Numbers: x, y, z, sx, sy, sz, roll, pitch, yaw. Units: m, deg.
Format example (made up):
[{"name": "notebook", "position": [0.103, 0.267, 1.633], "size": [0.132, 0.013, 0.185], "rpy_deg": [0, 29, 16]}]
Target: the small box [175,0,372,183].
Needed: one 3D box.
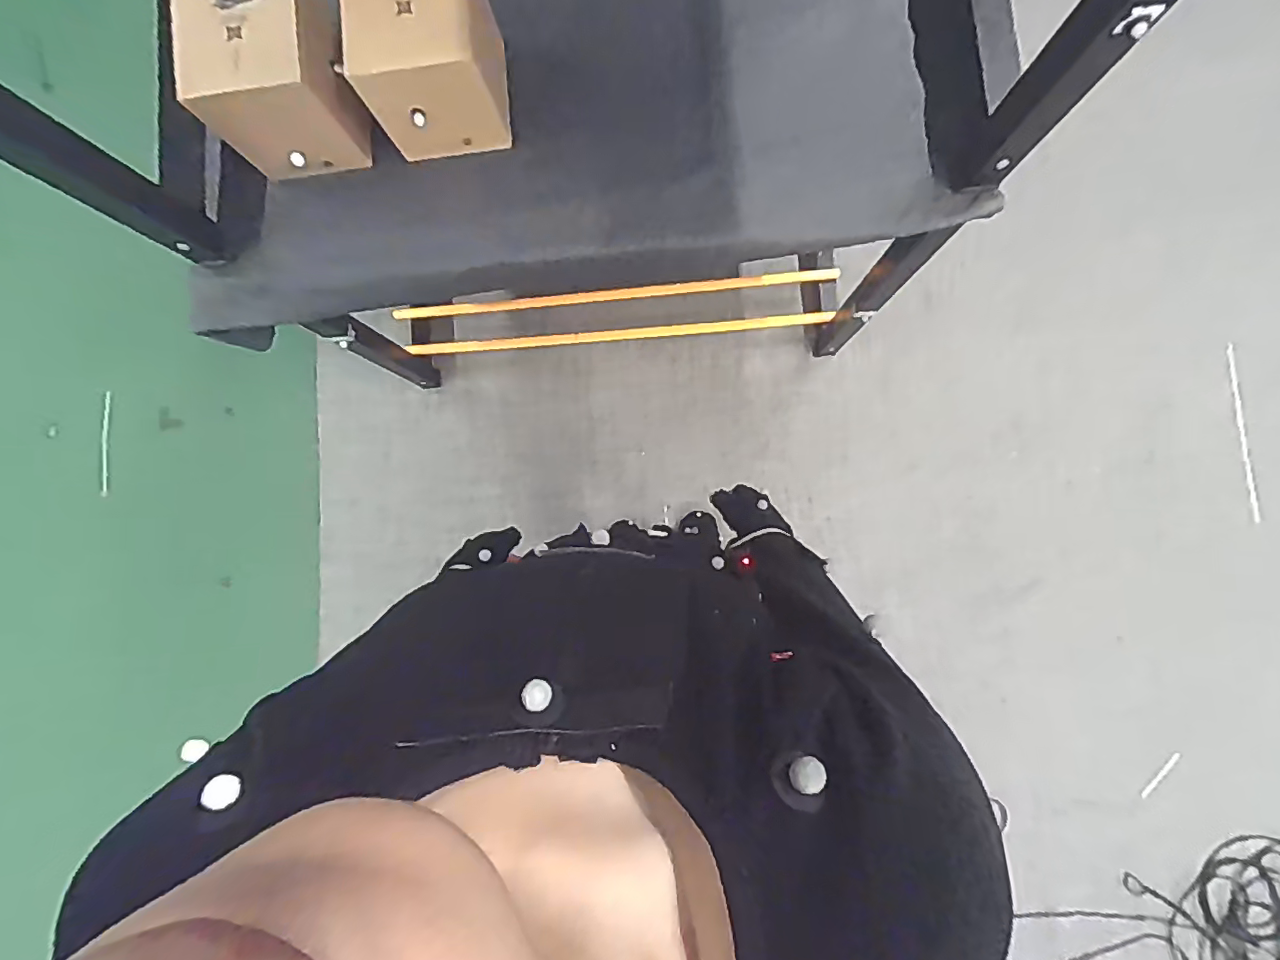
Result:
[{"name": "small box", "position": [-0.505, -0.561, 0.765], "size": [0.168, 0.176, 0.179], "rpy_deg": [-7, 86, 3]}]
